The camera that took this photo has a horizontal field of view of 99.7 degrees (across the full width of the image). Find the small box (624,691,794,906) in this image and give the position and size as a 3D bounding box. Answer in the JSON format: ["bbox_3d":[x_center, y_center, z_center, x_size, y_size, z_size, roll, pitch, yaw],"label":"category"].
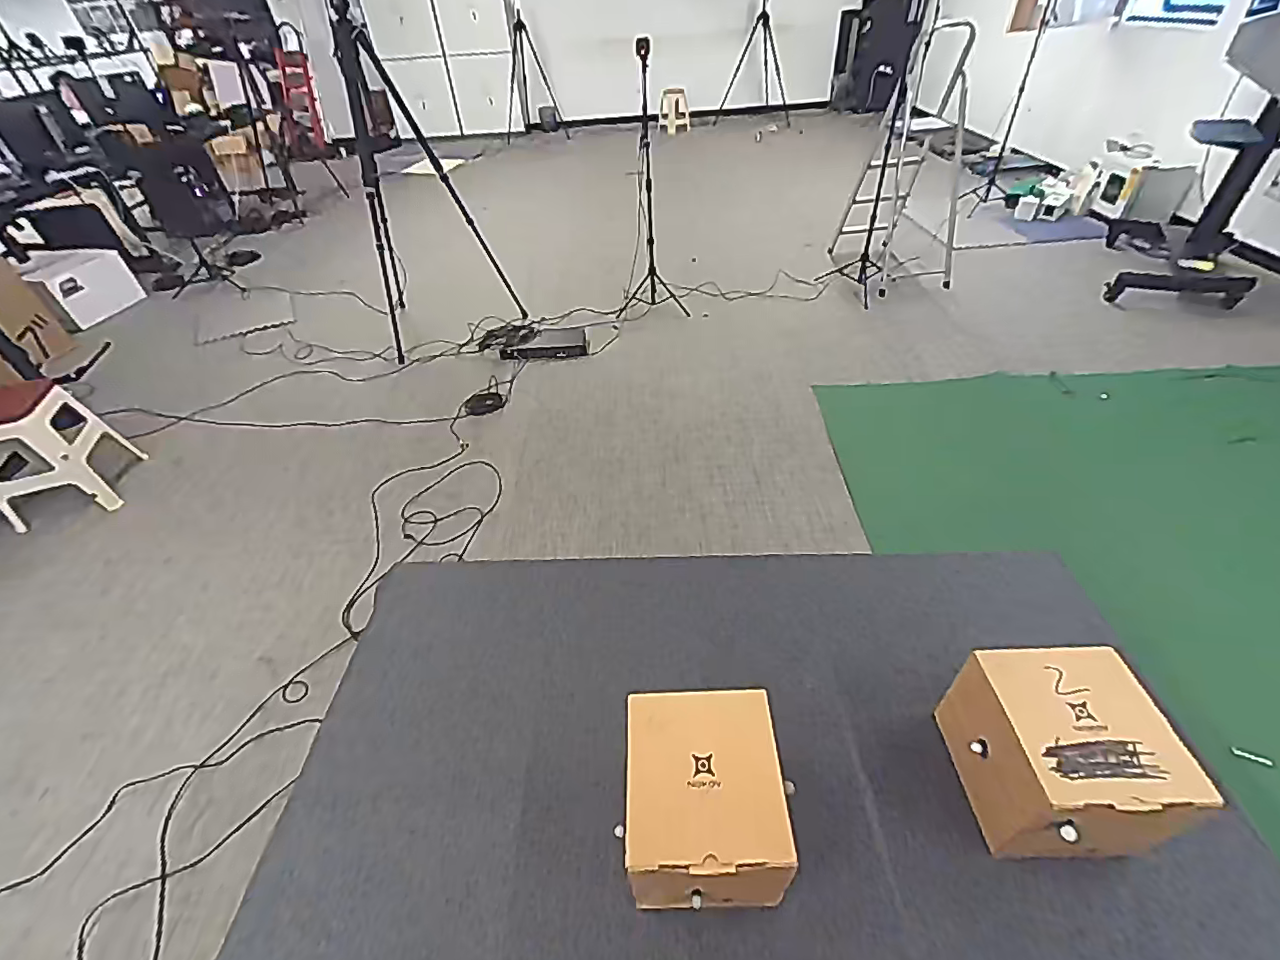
[{"bbox_3d":[0.068,0.369,0.628,0.168,0.176,0.179,-2,43,1],"label":"small box"}]
